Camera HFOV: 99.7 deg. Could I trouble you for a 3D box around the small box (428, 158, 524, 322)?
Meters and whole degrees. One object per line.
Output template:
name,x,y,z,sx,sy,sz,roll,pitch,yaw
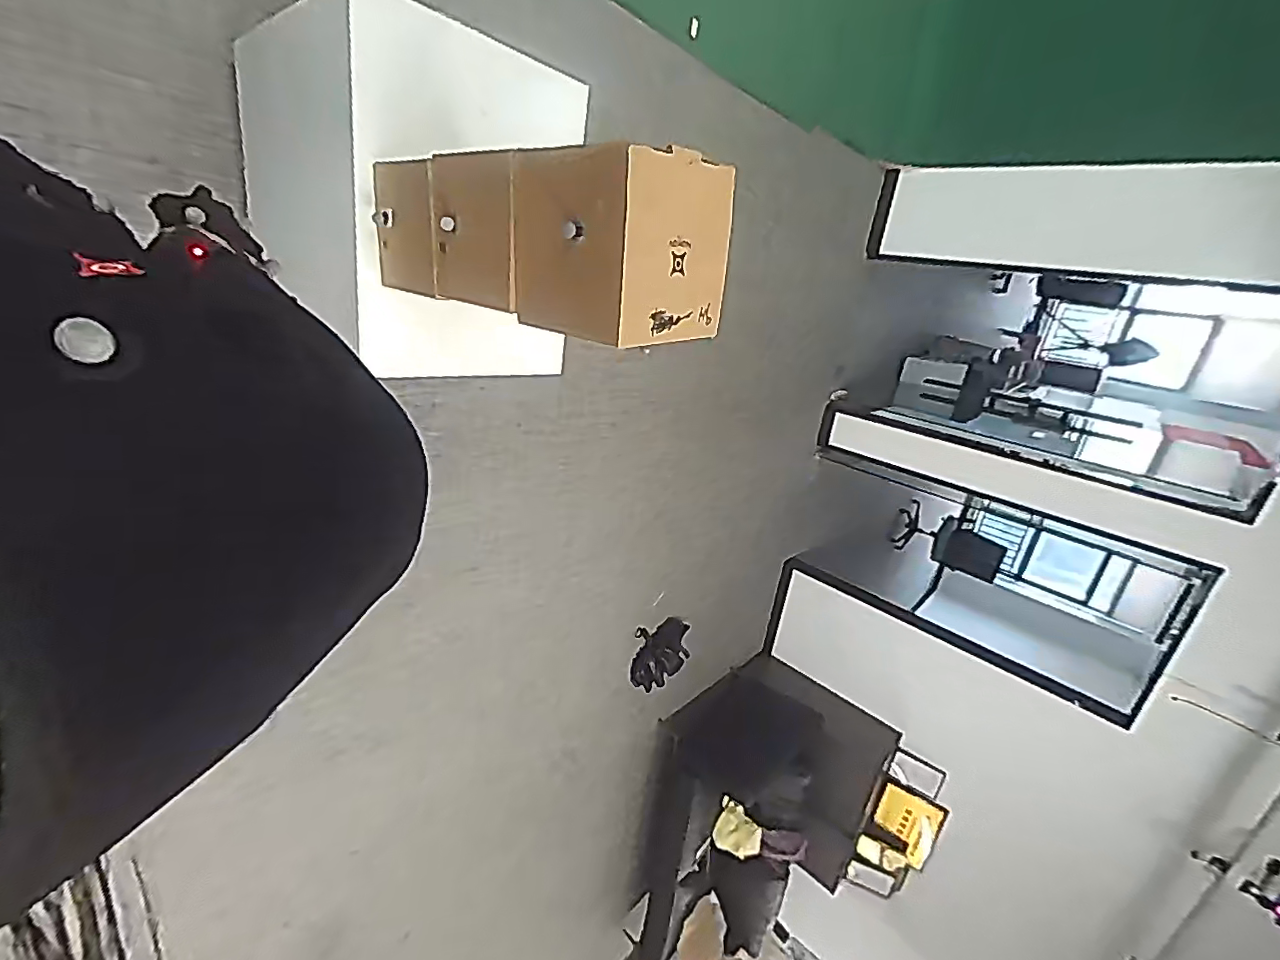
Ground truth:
small box,-0.139,-0.300,0.680,0.179,0.176,0.168,-22,125,-44

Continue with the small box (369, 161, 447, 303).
small box,-0.261,-0.350,0.778,0.179,0.176,0.168,-18,122,-42

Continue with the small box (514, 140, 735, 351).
small box,-0.022,-0.244,0.580,0.168,0.176,0.179,-20,123,-43
